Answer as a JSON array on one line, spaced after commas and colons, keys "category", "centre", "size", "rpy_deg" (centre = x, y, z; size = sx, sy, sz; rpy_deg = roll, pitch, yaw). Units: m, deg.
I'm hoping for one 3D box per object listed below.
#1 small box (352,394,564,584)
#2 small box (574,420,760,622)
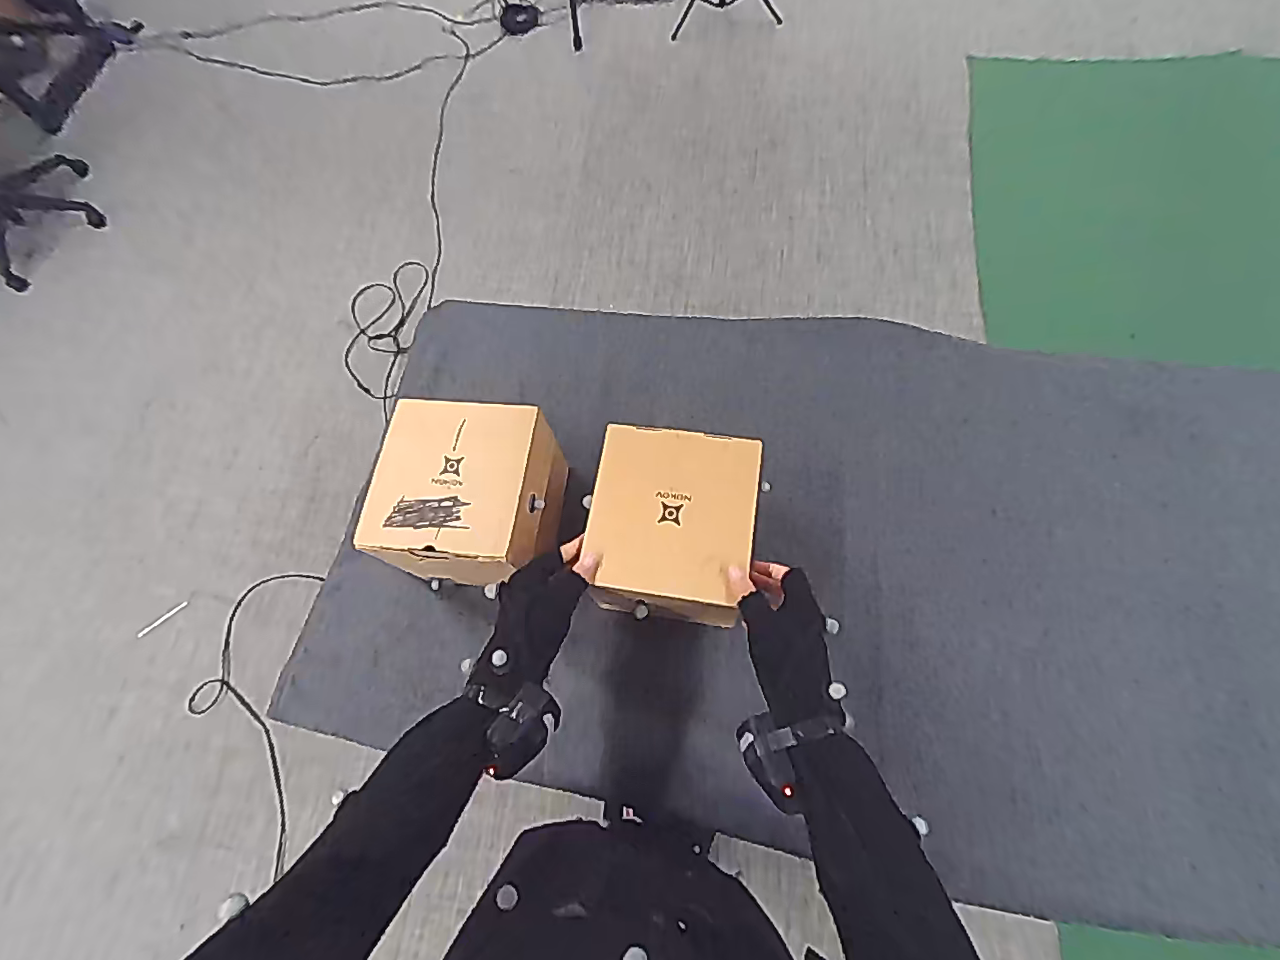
[{"category": "small box", "centre": [-0.195, 0.019, 0.639], "size": [0.168, 0.176, 0.179], "rpy_deg": [4, 68, 7]}, {"category": "small box", "centre": [0.037, 0.054, 0.607], "size": [0.168, 0.176, 0.179], "rpy_deg": [7, 69, 8]}]
